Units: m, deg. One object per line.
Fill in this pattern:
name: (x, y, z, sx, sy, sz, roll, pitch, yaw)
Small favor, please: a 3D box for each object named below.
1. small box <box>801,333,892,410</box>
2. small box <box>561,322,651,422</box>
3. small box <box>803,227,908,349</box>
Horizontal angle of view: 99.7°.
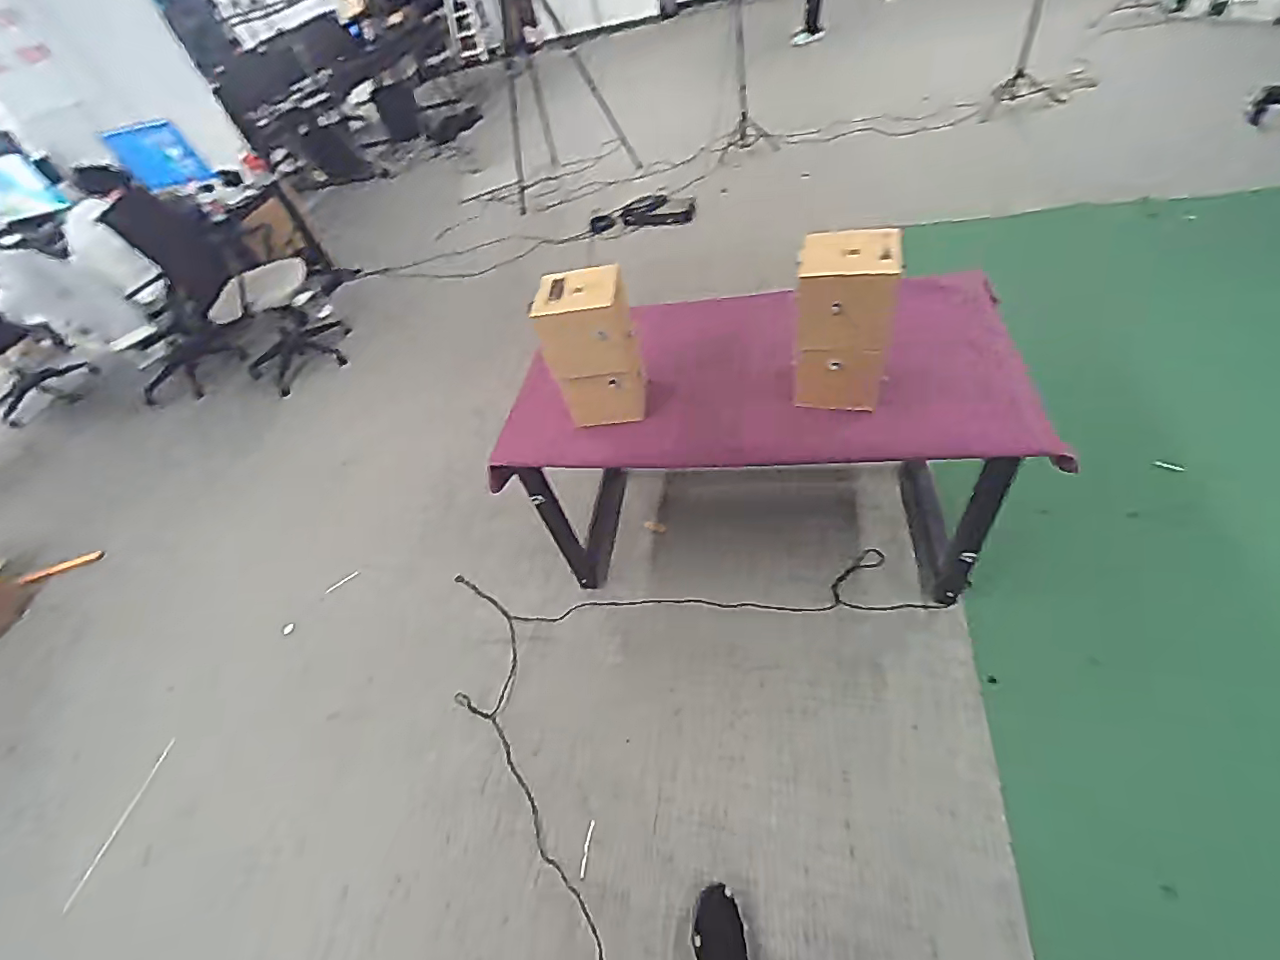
small box: (0.456, -0.271, 1.193, 0.179, 0.176, 0.168, 9, 53, 21)
small box: (-0.074, -0.260, 1.321, 0.179, 0.176, 0.168, -4, 49, 12)
small box: (0.424, -0.375, 1.071, 0.179, 0.176, 0.168, 5, 52, 20)
